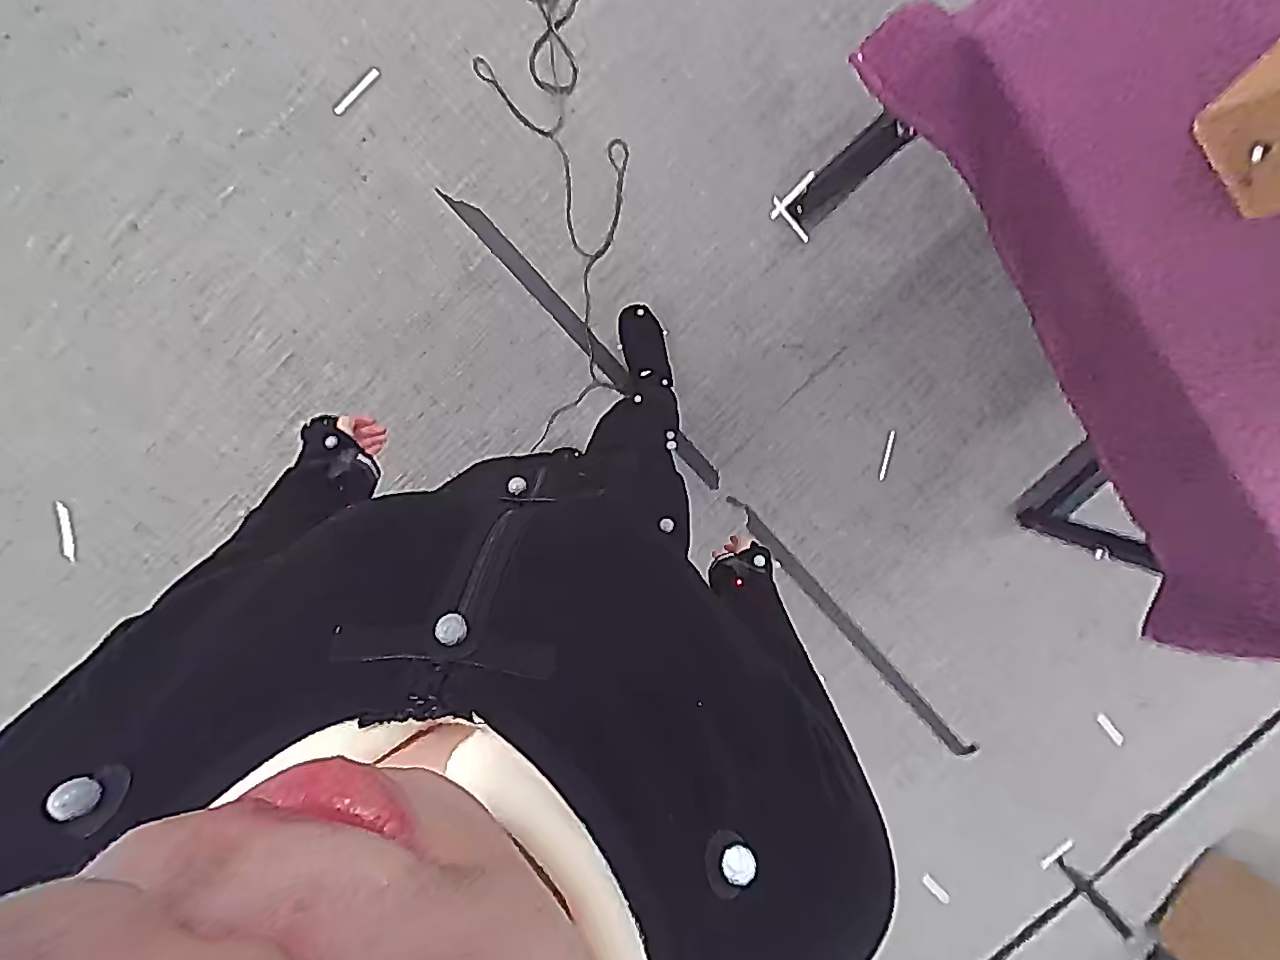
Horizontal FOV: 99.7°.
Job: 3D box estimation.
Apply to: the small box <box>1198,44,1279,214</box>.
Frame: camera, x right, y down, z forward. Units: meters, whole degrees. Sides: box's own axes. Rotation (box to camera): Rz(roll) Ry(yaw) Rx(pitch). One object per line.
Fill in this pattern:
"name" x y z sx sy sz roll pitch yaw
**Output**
"small box" 0.870 -0.469 0.664 0.179 0.176 0.168 -44 102 5
